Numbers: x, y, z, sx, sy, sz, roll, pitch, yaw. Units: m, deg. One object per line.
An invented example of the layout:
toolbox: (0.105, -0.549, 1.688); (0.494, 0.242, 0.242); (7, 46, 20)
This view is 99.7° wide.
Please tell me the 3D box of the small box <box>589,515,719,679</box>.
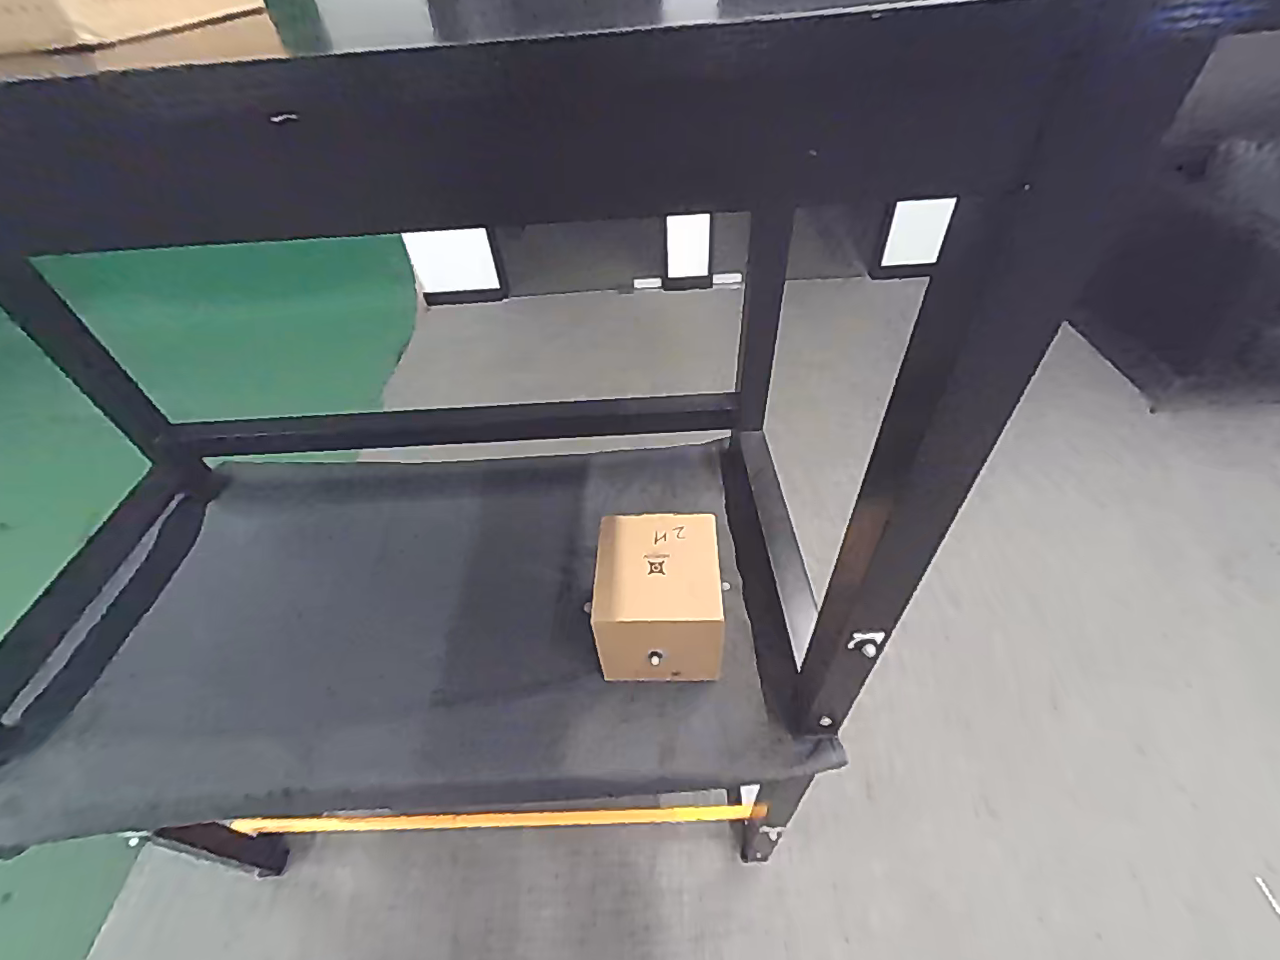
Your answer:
small box: (0.027, 0.171, 0.779); (0.168, 0.176, 0.179); (-1, 44, 4)
